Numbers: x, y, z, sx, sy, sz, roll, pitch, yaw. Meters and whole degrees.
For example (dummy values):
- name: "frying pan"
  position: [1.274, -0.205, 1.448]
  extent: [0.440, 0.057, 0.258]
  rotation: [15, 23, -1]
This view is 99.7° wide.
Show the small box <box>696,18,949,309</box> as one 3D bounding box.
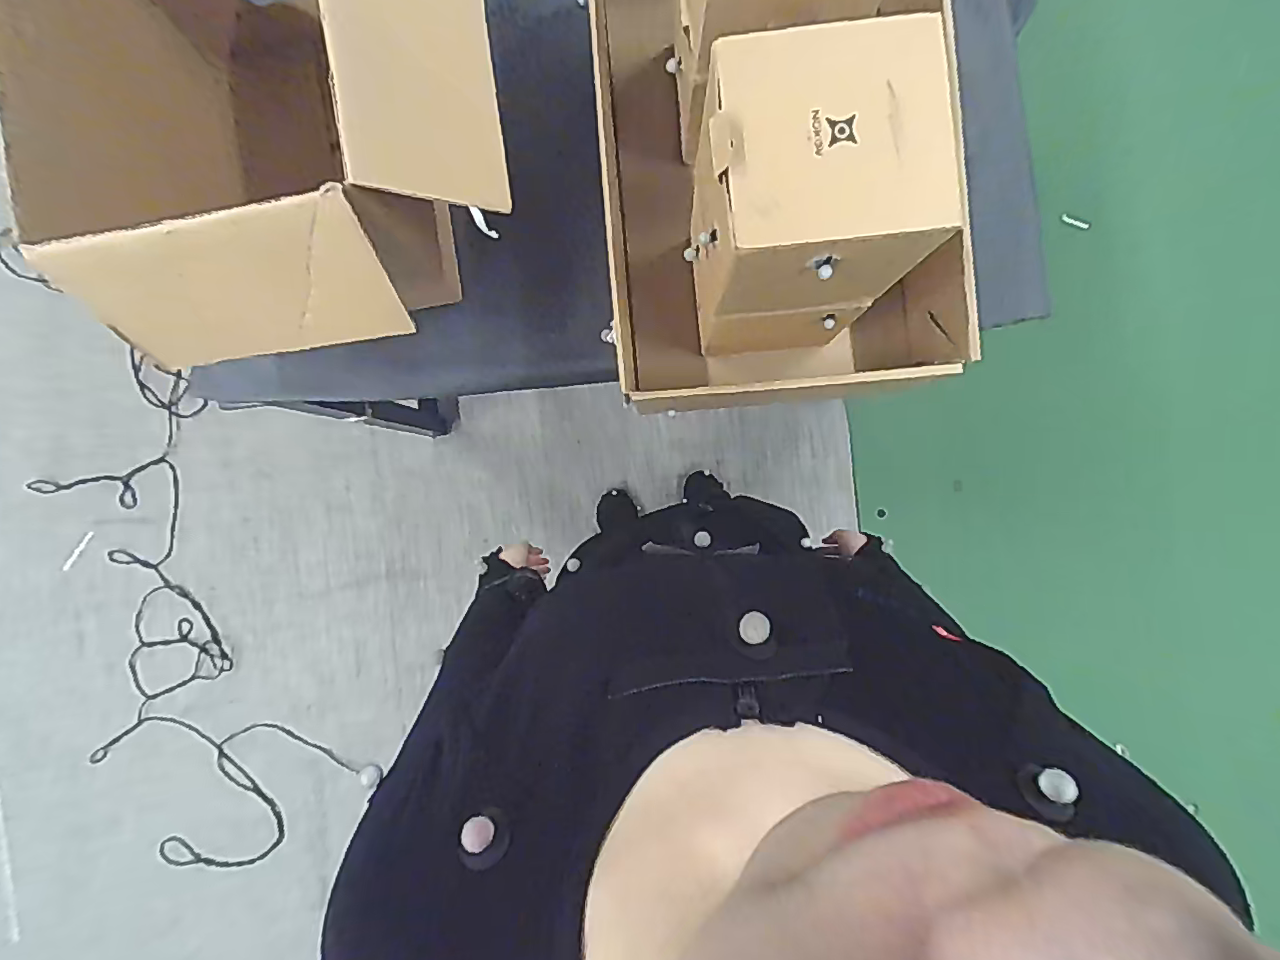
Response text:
- name: "small box"
  position: [0.147, -0.268, 0.498]
  extent: [0.179, 0.176, 0.168]
  rotation: [-6, 91, 0]

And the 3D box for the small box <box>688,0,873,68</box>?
- name: "small box"
  position: [0.130, -0.522, 0.492]
  extent: [0.168, 0.176, 0.179]
  rotation: [-4, 93, 0]
